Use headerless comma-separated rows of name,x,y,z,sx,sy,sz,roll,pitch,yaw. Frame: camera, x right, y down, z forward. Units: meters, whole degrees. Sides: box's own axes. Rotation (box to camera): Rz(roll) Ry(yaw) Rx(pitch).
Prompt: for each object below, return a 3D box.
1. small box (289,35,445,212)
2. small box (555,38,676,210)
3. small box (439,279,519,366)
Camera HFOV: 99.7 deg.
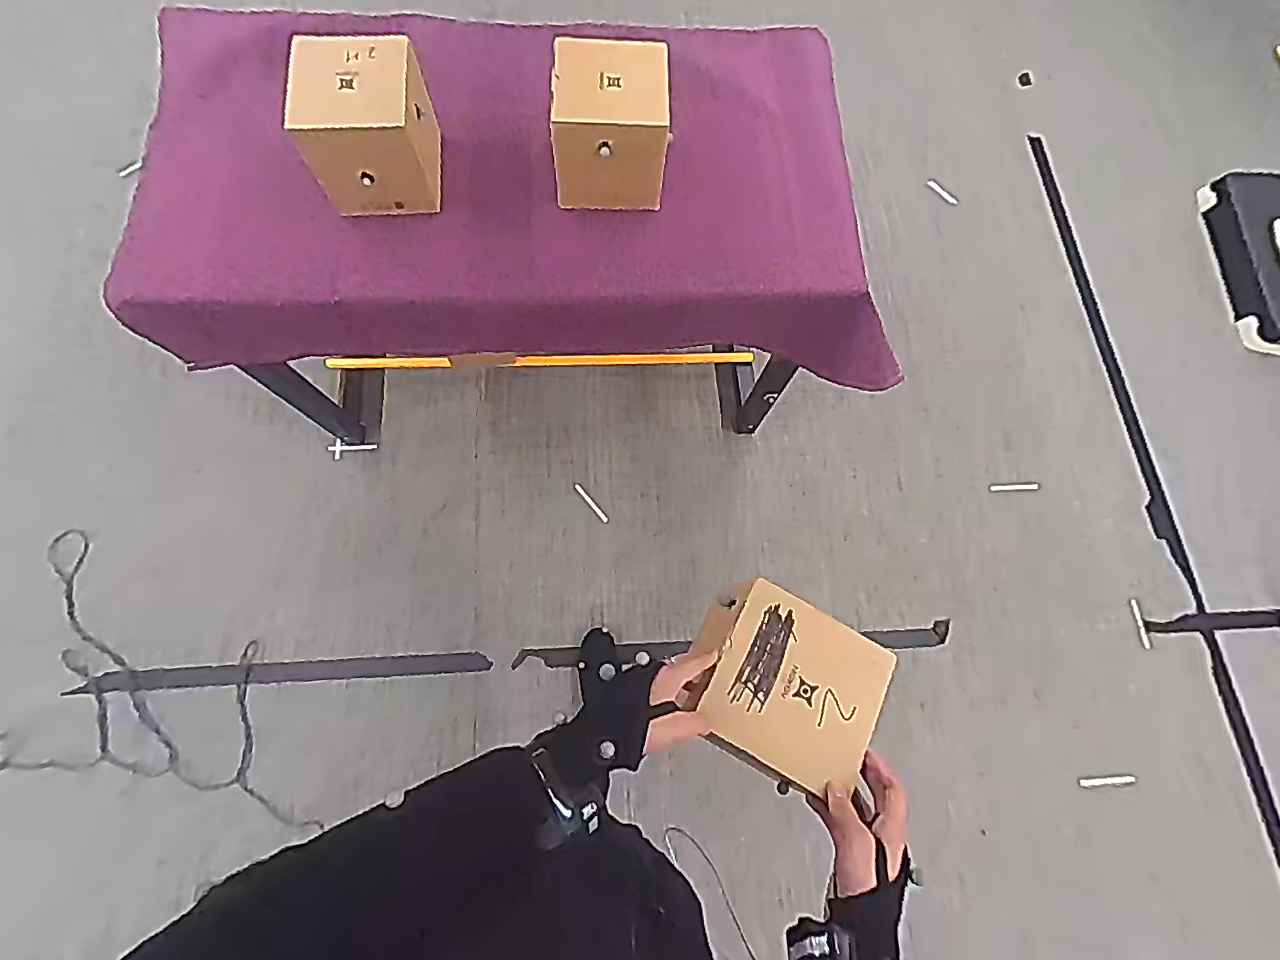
small box,-0.412,-0.546,0.847,0.168,0.176,0.179,-3,74,-5
small box,-0.039,-0.563,0.875,0.179,0.176,0.168,0,74,-2
small box,-0.428,-0.416,1.450,0.179,0.176,0.168,-4,75,-6
